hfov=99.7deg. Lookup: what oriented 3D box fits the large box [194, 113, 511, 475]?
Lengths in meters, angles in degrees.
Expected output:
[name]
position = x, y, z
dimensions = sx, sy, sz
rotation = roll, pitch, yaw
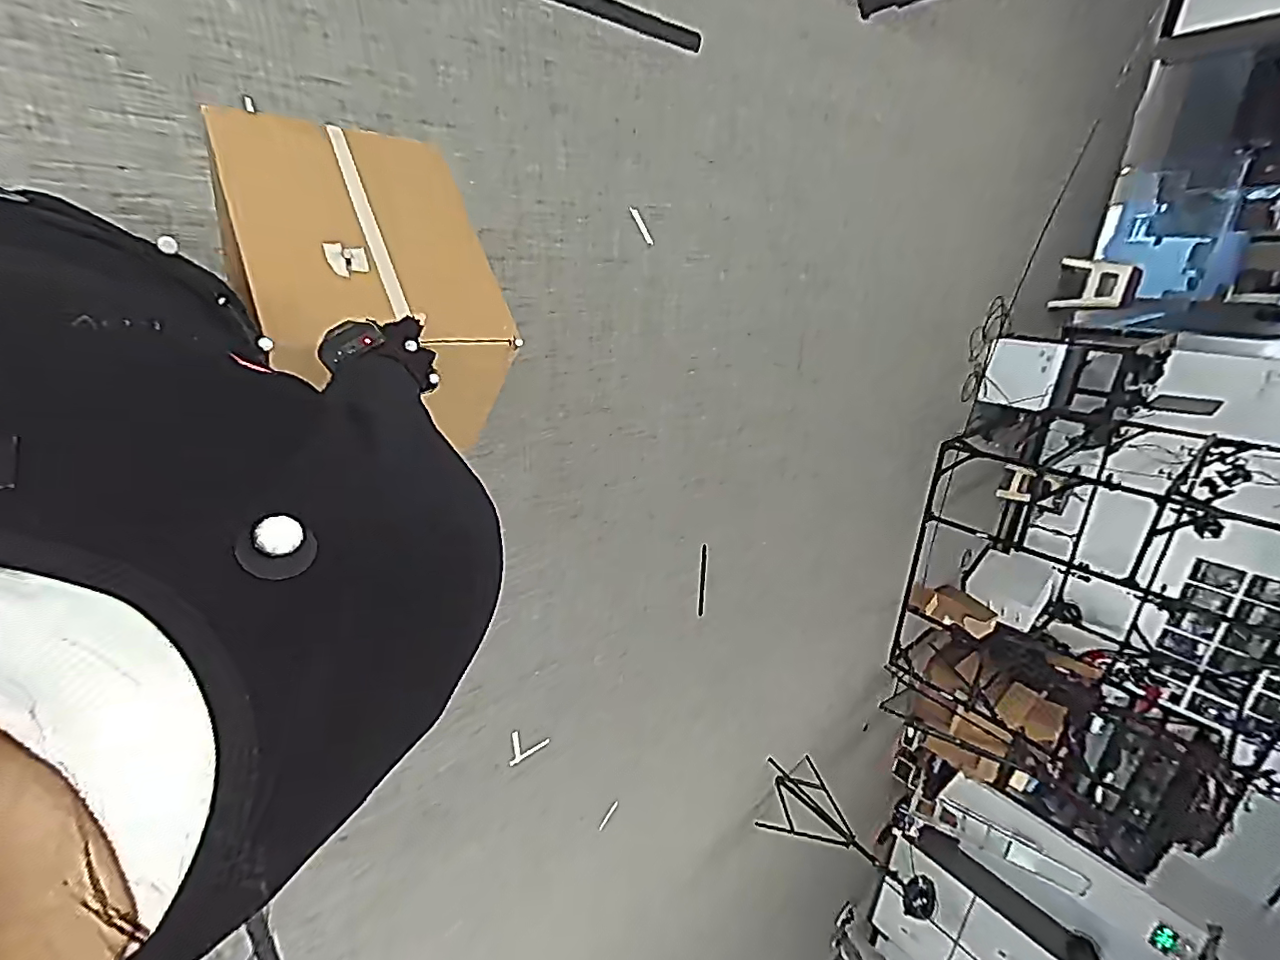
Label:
[large box]
position = -0.455, -0.269, 0.857
dimensions = 0.320, 0.408, 0.320
rotation = -13, 161, -35
